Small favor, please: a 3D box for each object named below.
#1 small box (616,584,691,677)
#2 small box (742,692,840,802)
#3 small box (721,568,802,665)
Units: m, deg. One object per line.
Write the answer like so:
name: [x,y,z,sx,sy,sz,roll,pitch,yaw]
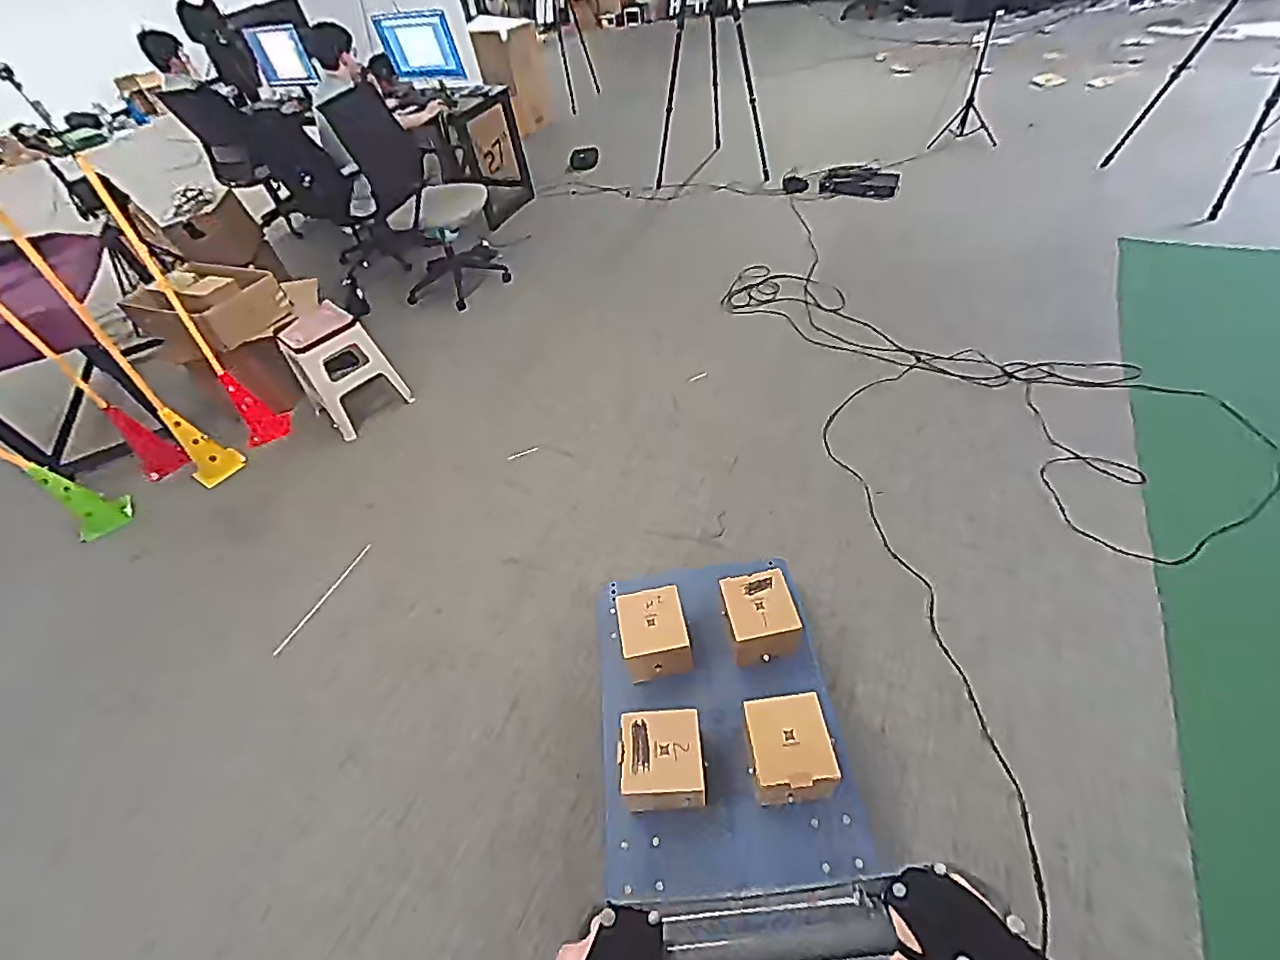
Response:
small box: [0.037,0.402,1.425,0.168,0.176,0.179,-10,48,-1]
small box: [0.327,0.599,1.211,0.168,0.176,0.179,-8,49,2]
small box: [0.310,0.360,1.420,0.168,0.176,0.179,-11,49,0]
